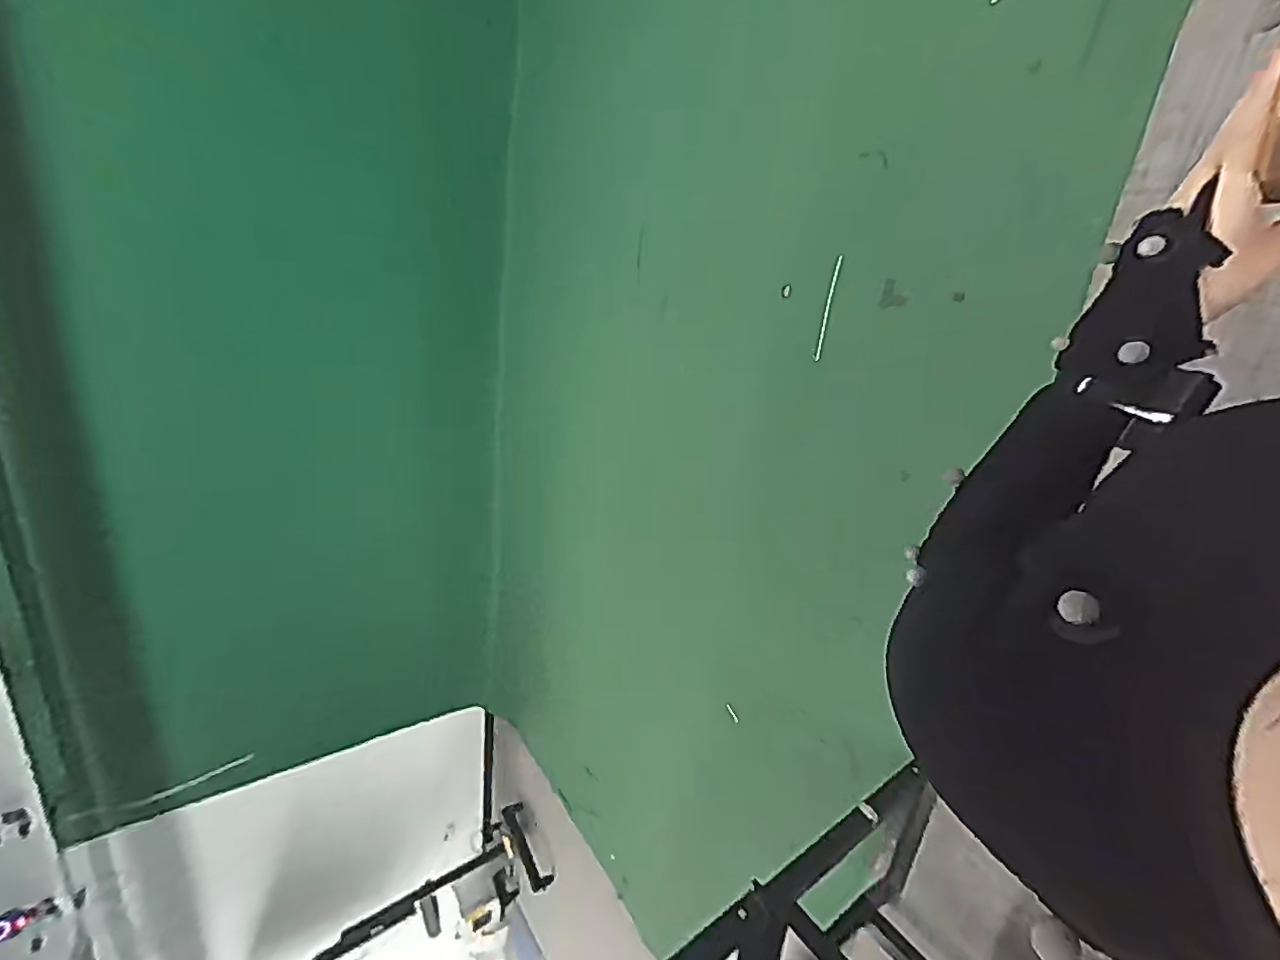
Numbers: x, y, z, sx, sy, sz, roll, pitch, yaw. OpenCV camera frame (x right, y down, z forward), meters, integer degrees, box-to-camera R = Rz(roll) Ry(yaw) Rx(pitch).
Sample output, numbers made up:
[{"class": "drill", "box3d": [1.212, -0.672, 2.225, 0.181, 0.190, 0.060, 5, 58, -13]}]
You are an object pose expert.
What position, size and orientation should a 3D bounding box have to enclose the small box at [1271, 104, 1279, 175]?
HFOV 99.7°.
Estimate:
[{"class": "small box", "box3d": [0.405, -0.243, 0.218, 0.179, 0.176, 0.168, 13, 107, 45]}]
